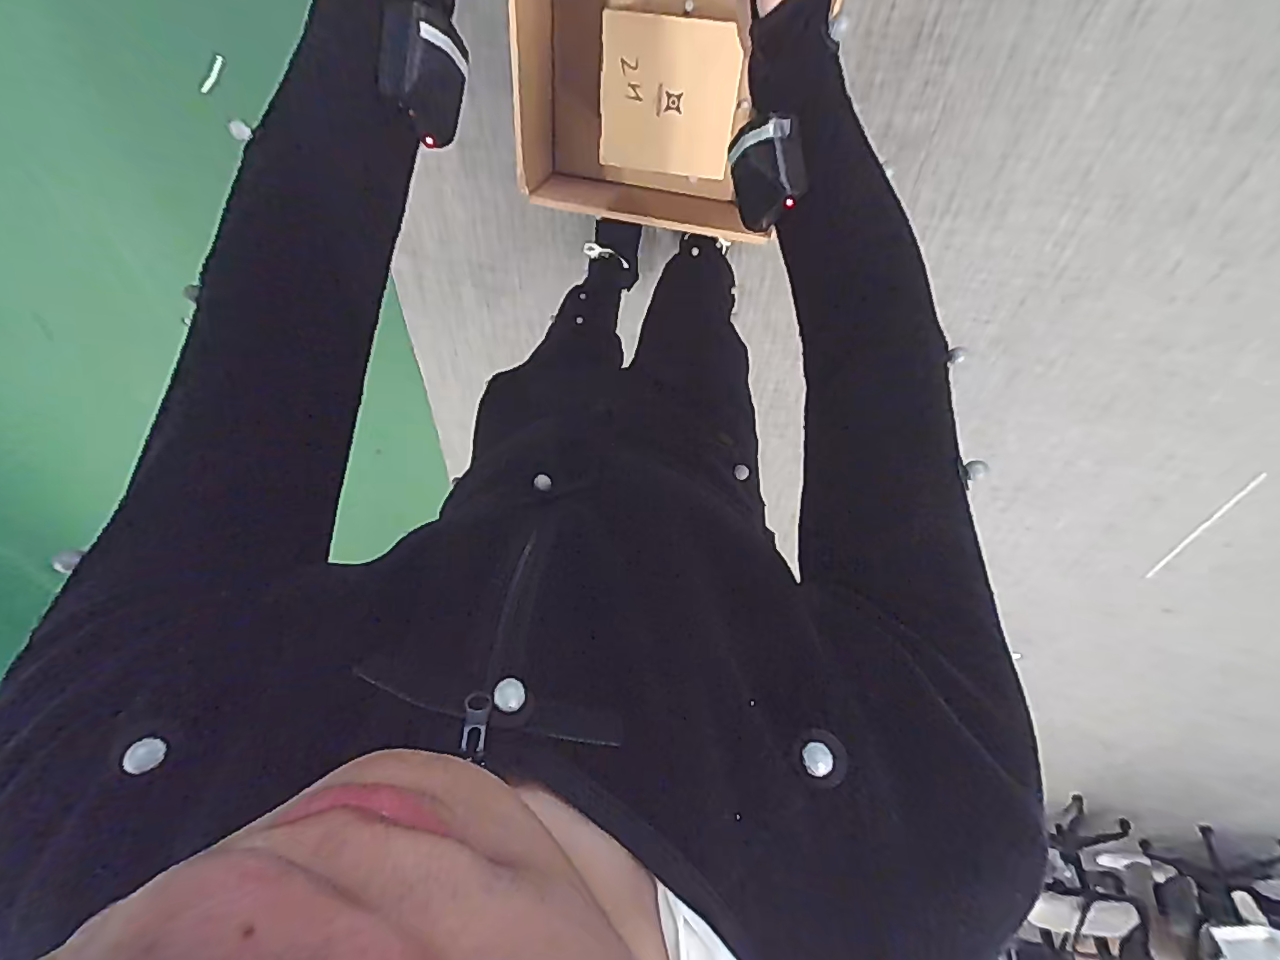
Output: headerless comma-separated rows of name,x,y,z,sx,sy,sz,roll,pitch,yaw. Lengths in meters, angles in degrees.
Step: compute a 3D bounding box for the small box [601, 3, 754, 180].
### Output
small box,0.052,-0.534,0.740,0.179,0.176,0.168,11,133,3
